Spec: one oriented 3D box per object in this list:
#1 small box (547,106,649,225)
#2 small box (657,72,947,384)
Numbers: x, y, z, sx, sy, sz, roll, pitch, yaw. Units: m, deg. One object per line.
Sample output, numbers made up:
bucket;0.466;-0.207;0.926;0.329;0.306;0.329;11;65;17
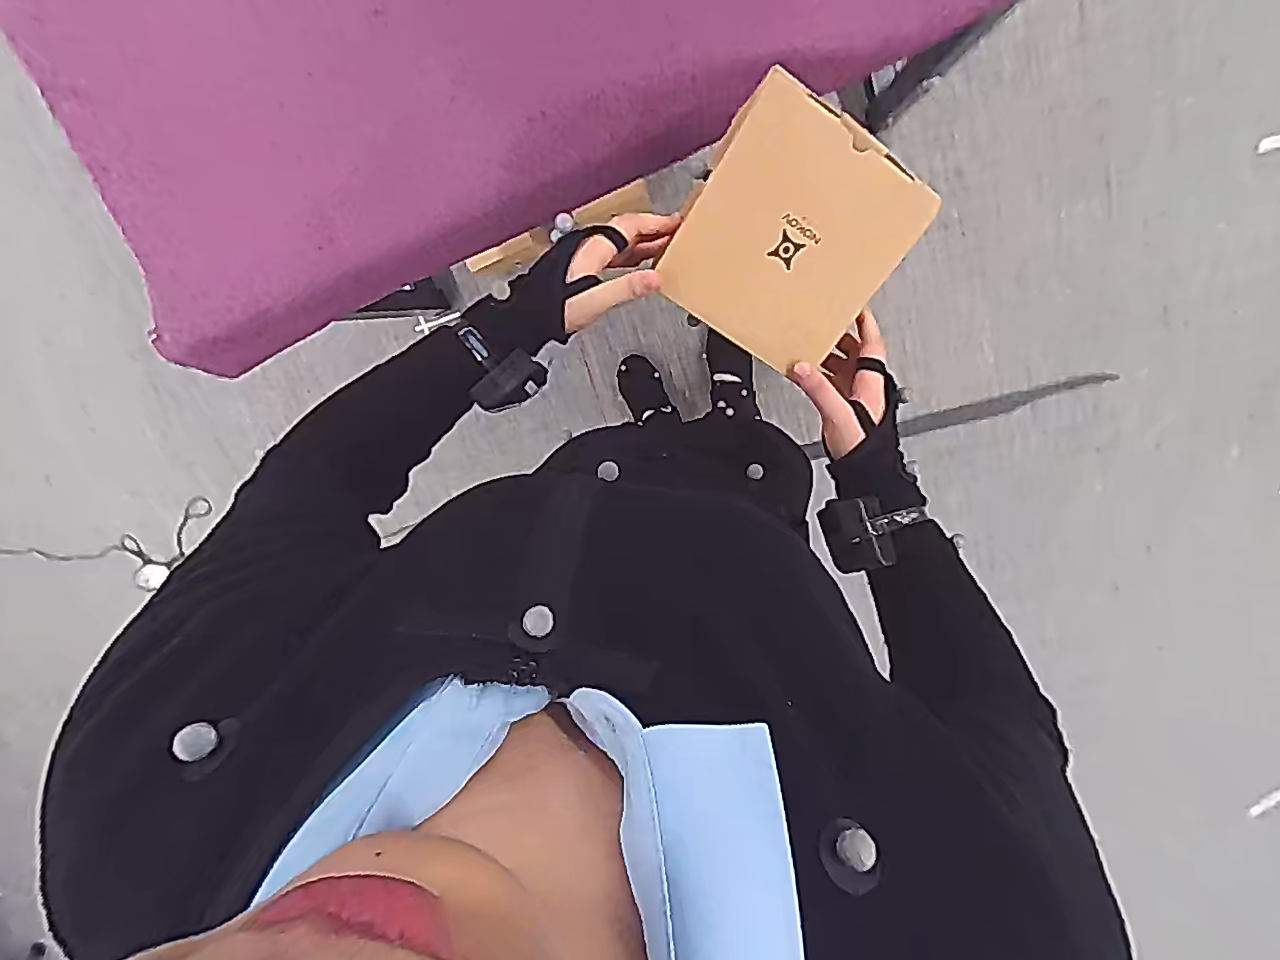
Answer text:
small box;-0.085;-0.691;1.216;0.168;0.176;0.179;-15;105;11
small box;0.132;-0.222;0.510;0.168;0.176;0.179;31;111;-11
